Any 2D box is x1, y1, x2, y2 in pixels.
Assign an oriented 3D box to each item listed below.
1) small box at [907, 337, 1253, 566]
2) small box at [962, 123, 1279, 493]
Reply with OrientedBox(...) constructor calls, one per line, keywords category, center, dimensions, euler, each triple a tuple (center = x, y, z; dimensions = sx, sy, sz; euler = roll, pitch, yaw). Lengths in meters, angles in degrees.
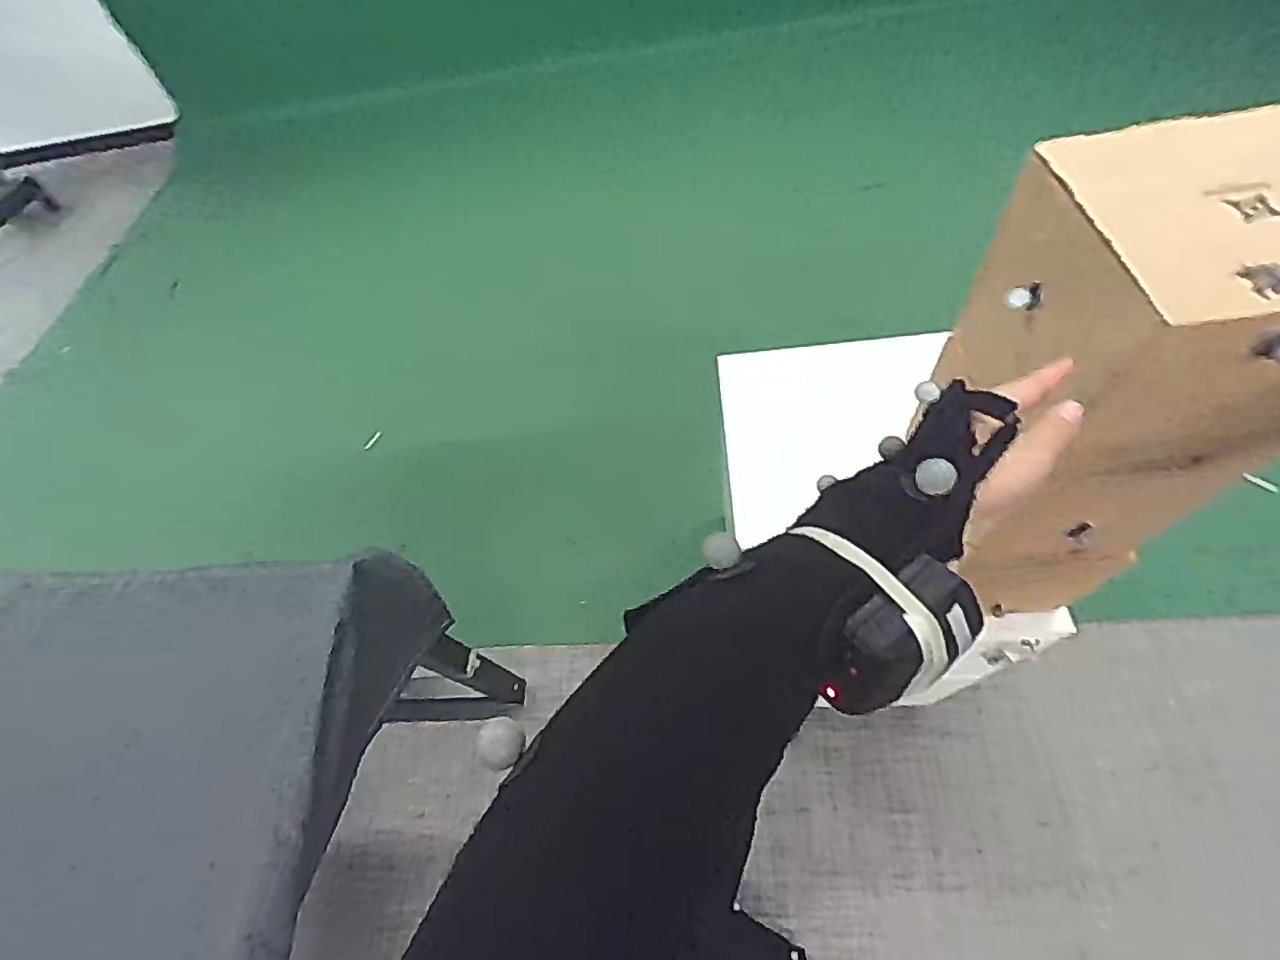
OrientedBox(category="small box", center=(0.382, -0.026, 0.517), dimensions=(0.168, 0.176, 0.179), euler=(-7, 58, 5))
OrientedBox(category="small box", center=(0.360, -0.111, 0.379), dimensions=(0.168, 0.176, 0.179), euler=(-5, 57, 7))
